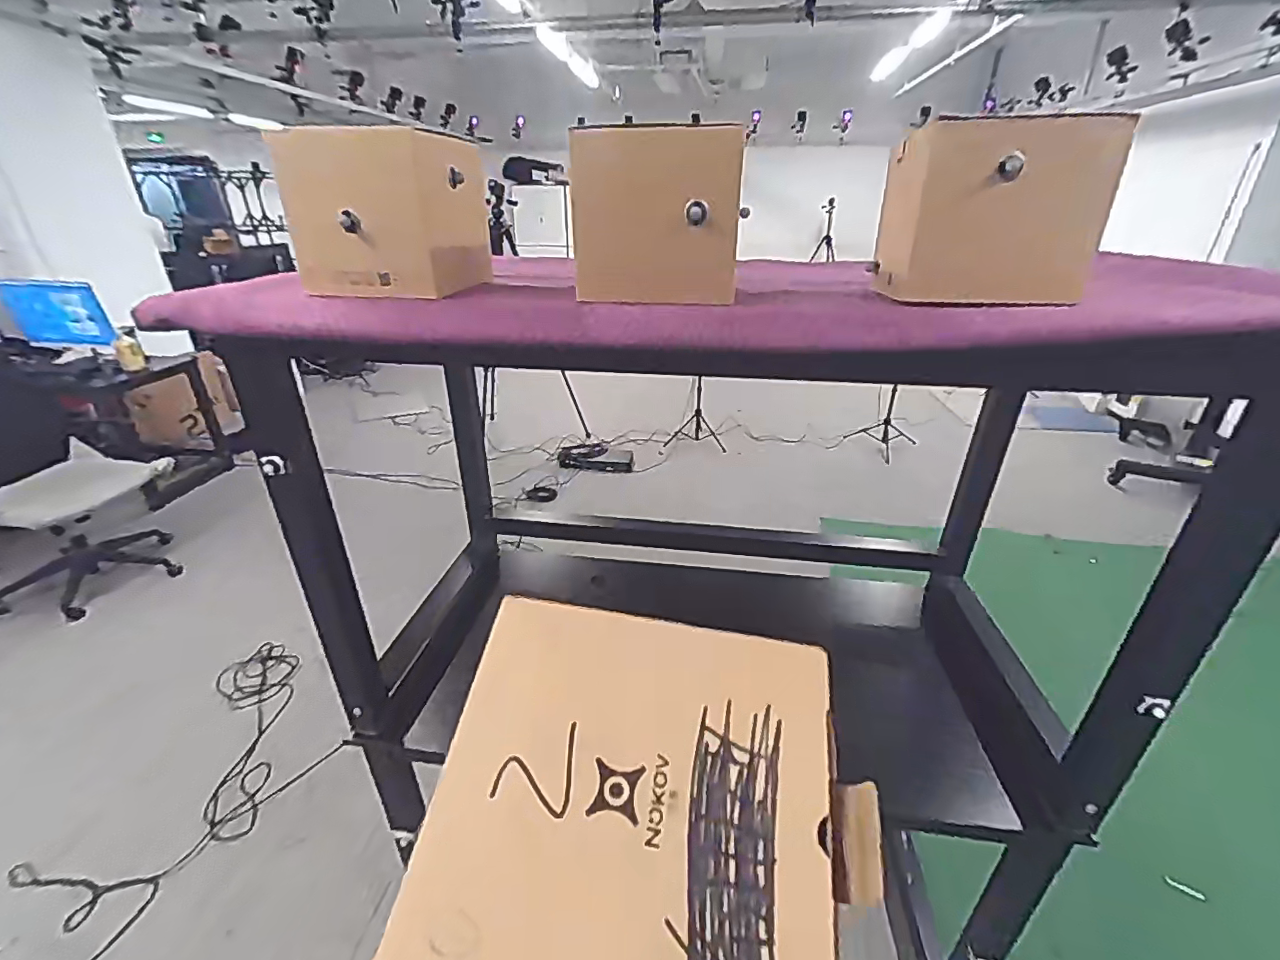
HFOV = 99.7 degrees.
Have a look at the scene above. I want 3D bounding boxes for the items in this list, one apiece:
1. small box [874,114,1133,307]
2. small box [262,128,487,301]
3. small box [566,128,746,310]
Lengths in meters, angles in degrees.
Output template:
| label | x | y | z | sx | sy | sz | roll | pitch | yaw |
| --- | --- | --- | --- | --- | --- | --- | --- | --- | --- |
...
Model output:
| label | x | y | z | sx | sy | sz | roll | pitch | yaw |
| --- | --- | --- | --- | --- | --- | --- | --- | --- | --- |
| small box | 0.371 | -0.286 | 0.599 | 0.179 | 0.176 | 0.168 | 4 | 25 | 8 |
| small box | -0.296 | -0.316 | 0.652 | 0.168 | 0.176 | 0.179 | 5 | 28 | 6 |
| small box | 0.023 | -0.295 | 0.622 | 0.179 | 0.176 | 0.168 | 2 | 27 | 7 |
